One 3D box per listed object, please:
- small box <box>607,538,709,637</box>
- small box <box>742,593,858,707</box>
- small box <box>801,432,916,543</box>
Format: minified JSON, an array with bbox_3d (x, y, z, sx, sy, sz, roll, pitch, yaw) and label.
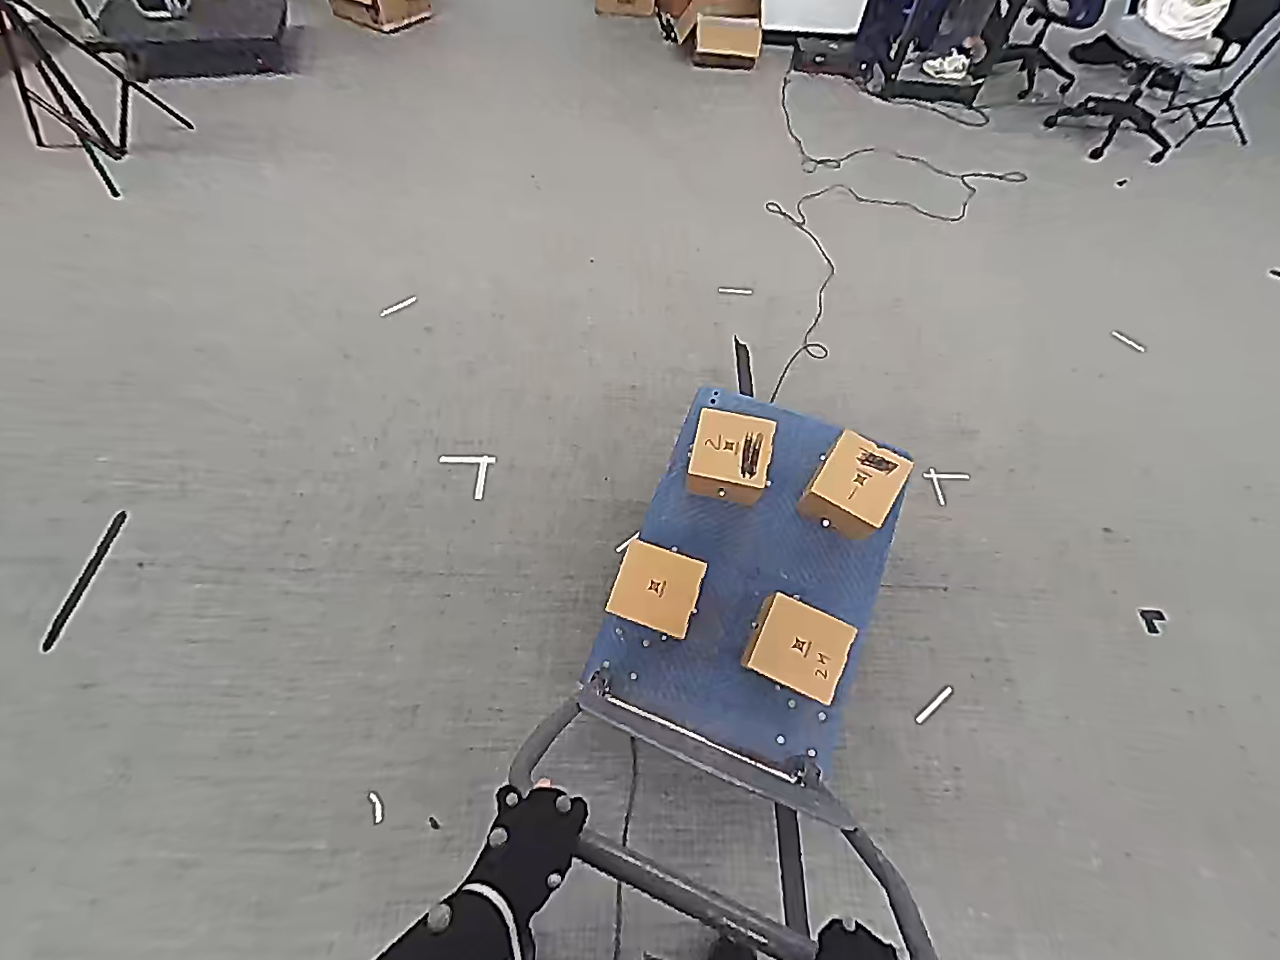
[{"bbox_3d":[0.041,0.249,1.214,0.179,0.176,0.168,19,74,7],"label":"small box"},{"bbox_3d":[0.332,0.364,1.161,0.179,0.176,0.168,25,76,11],"label":"small box"},{"bbox_3d":[0.497,0.024,1.258,0.168,0.176,0.179,32,78,12],"label":"small box"}]
